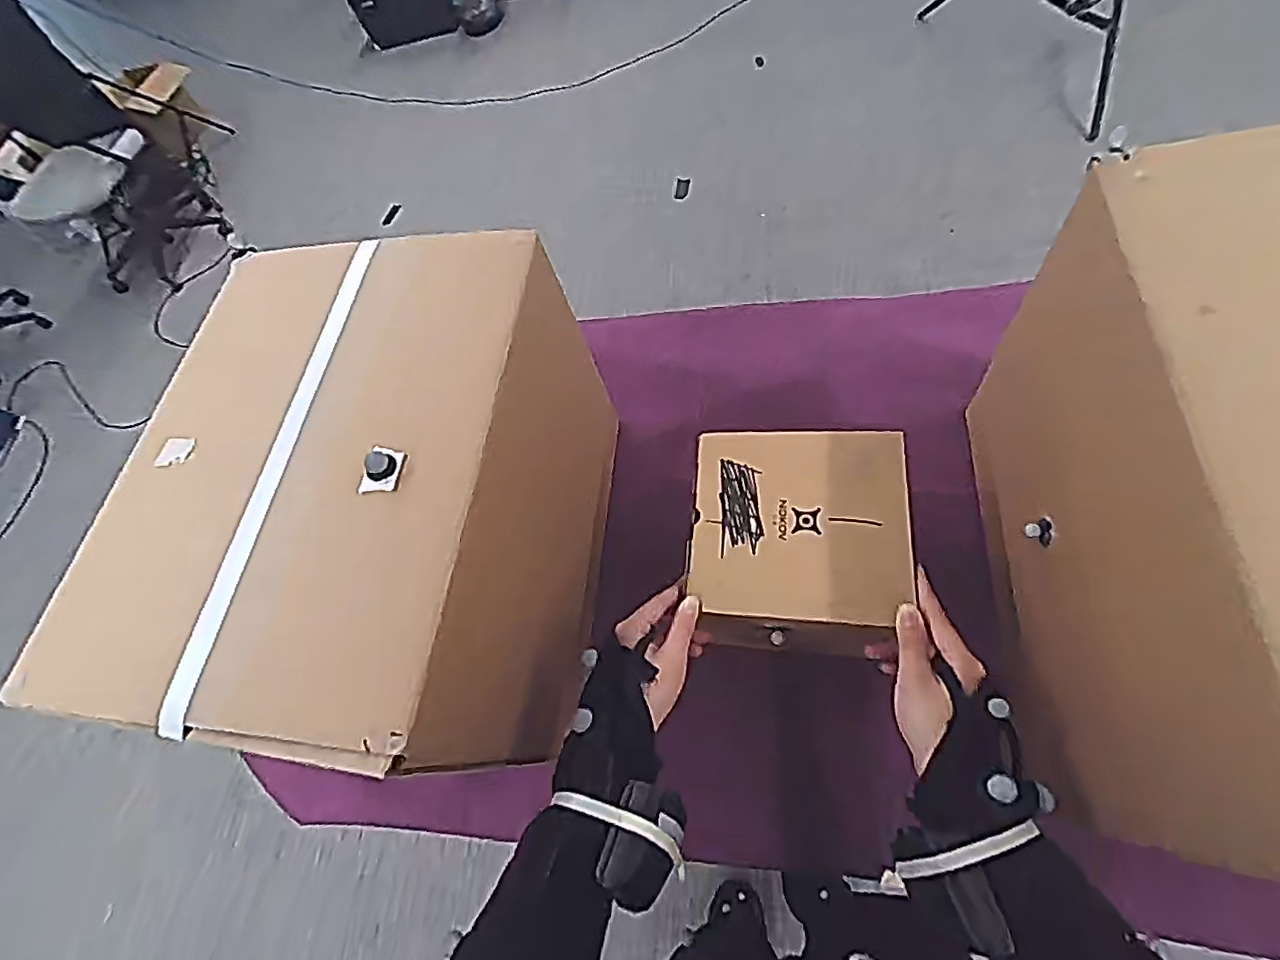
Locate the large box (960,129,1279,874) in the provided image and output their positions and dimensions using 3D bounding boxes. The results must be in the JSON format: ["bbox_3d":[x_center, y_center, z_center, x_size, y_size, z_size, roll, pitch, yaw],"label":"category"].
[{"bbox_3d":[0.455,0.031,0.368,0.320,0.320,0.408,0,63,14],"label":"large box"}]
